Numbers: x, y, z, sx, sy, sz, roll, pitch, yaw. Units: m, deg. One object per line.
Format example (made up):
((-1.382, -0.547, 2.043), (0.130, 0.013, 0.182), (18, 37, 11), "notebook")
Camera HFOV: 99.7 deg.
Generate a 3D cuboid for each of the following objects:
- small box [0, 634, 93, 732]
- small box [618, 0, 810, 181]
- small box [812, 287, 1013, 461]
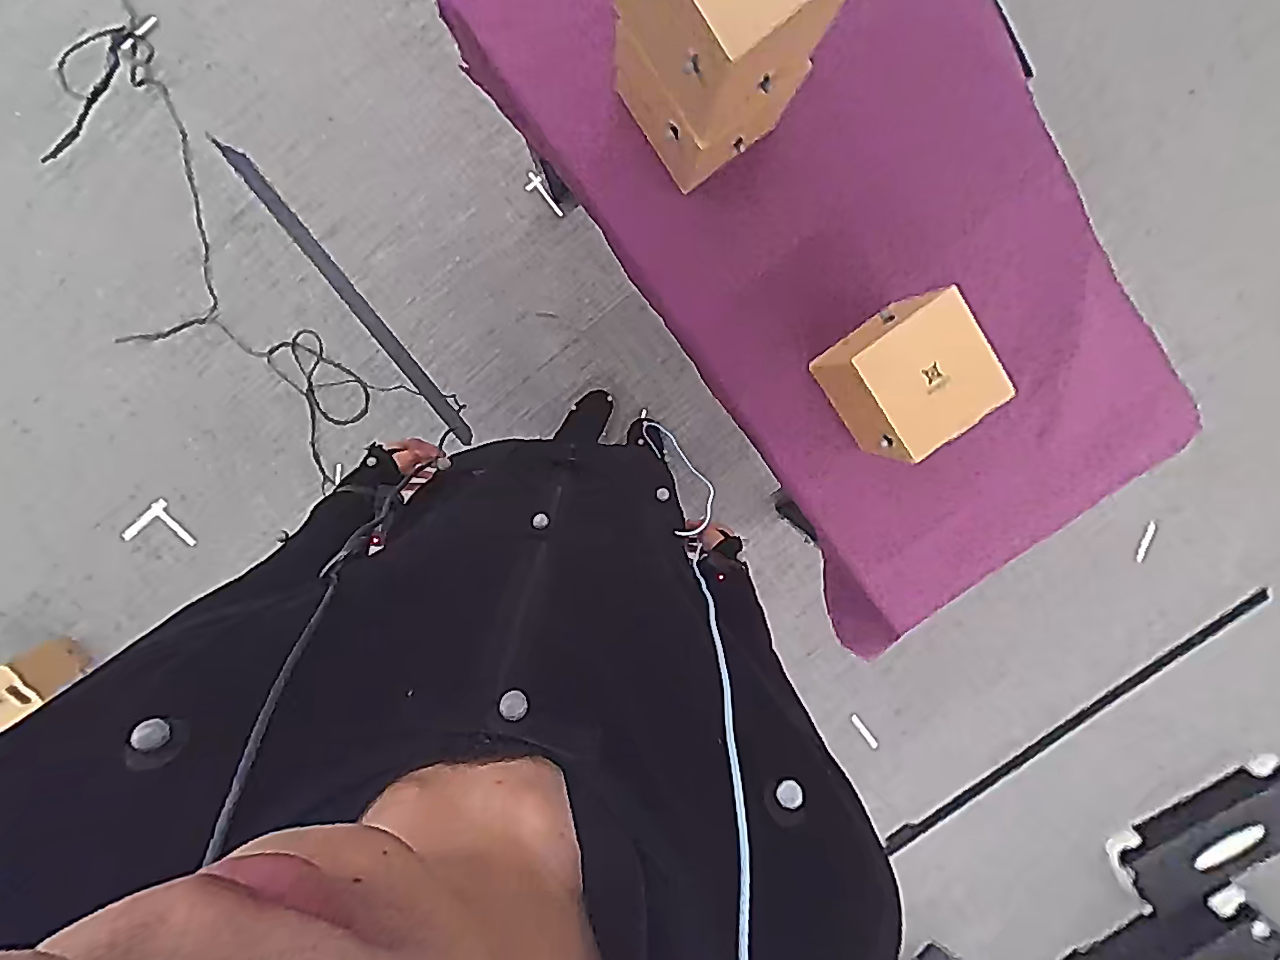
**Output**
((-1.791, 0.590, 1.595), (0.179, 0.176, 0.168), (-34, 100, 5), "small box")
((0.087, -0.528, 0.710), (0.168, 0.176, 0.179), (-35, 101, 4), "small box")
((0.385, -0.151, 0.797), (0.168, 0.176, 0.179), (-36, 101, 4), "small box")
